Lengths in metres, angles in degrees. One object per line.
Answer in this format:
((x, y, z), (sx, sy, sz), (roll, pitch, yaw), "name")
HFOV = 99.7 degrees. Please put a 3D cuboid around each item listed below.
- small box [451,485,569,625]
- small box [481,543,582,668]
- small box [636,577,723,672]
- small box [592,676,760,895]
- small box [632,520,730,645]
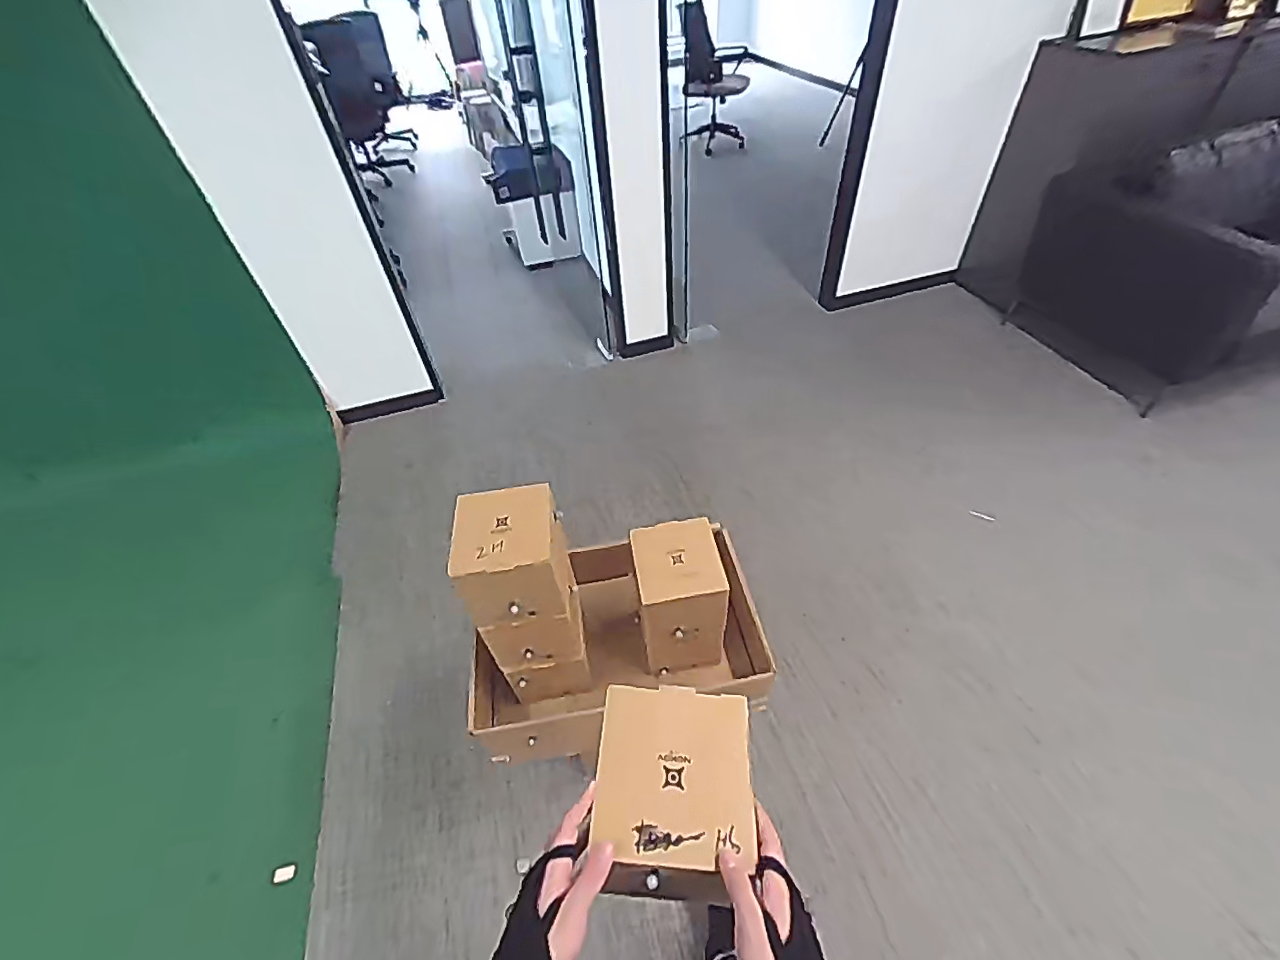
((-0.223, 0.134, 0.967), (0.168, 0.176, 0.179), (-8, 47, -2), "small box")
((-0.212, 0.251, 1.084), (0.168, 0.176, 0.179), (-8, 47, -3), "small box")
((0.088, 0.316, 1.219), (0.168, 0.176, 0.179), (-8, 46, -3), "small box")
((0.040, 0.357, 0.633), (0.168, 0.176, 0.179), (4, 45, 3), "small box")
((0.079, 0.208, 1.098), (0.168, 0.176, 0.179), (-9, 47, -3), "small box")
